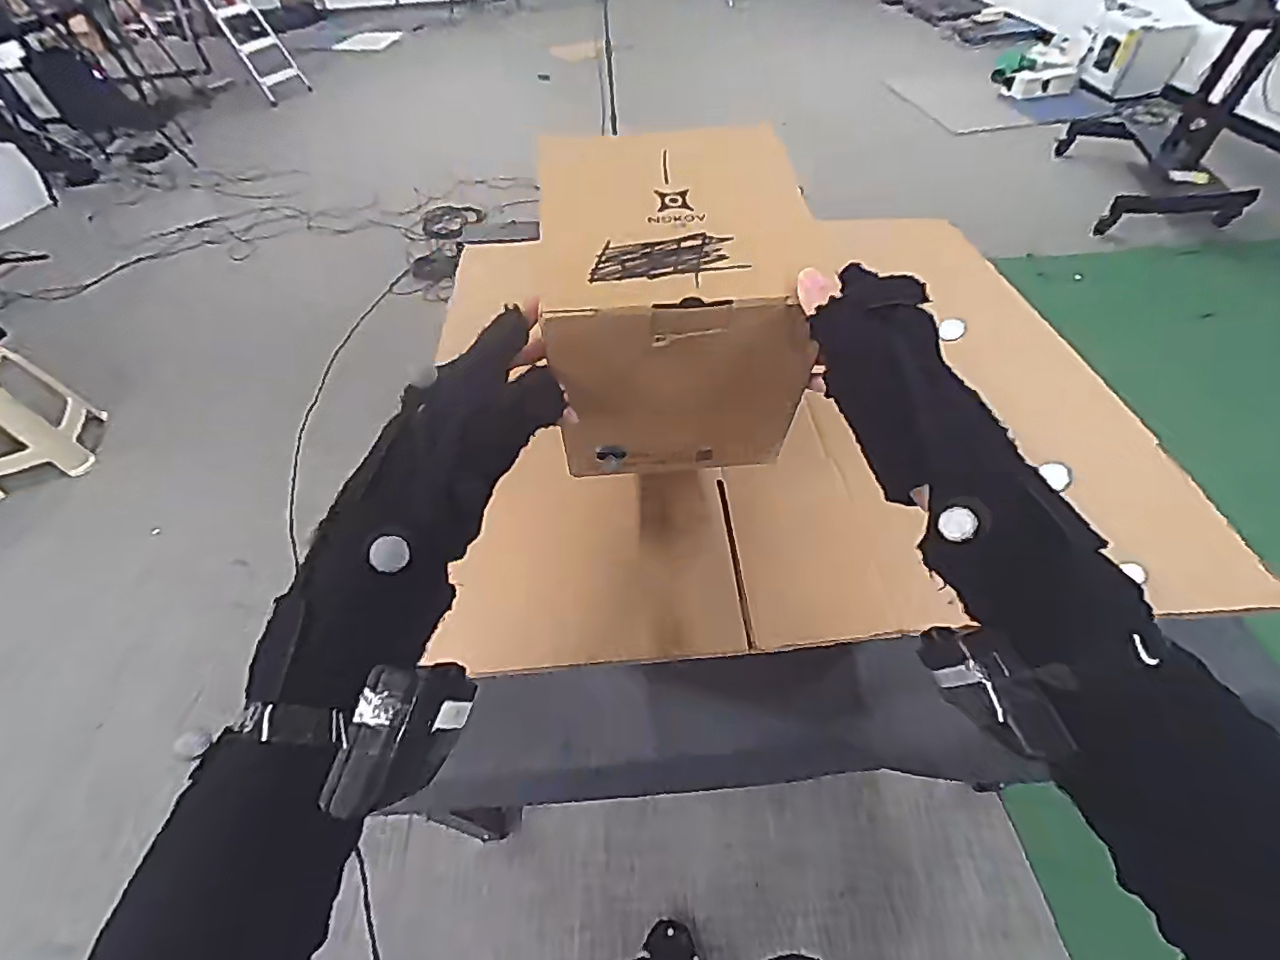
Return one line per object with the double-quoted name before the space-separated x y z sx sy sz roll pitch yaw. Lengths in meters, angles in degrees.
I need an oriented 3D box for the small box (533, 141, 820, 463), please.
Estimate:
"small box" 0.017 -0.124 0.413 0.168 0.176 0.179 -4 58 -2
